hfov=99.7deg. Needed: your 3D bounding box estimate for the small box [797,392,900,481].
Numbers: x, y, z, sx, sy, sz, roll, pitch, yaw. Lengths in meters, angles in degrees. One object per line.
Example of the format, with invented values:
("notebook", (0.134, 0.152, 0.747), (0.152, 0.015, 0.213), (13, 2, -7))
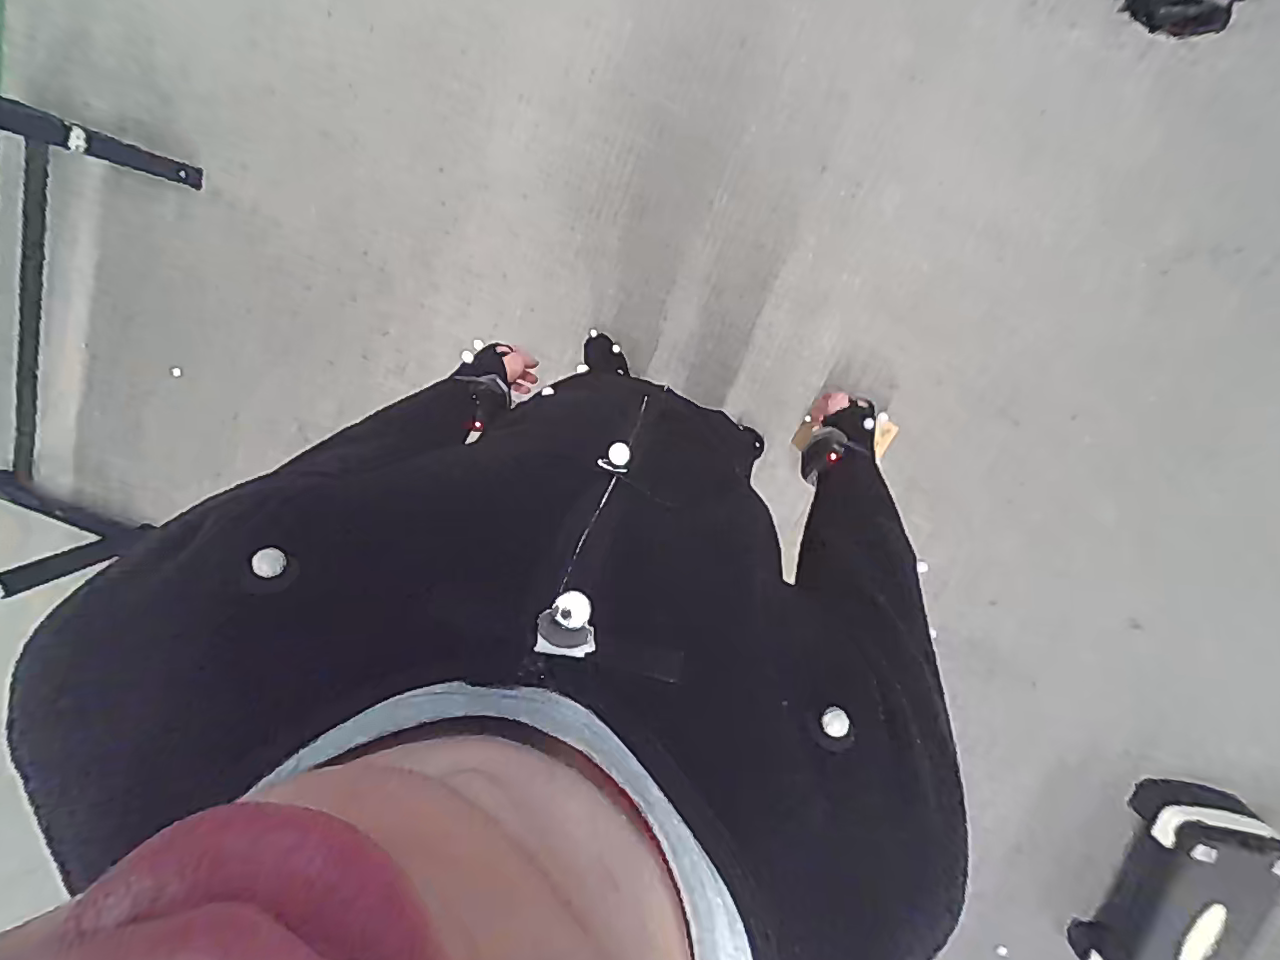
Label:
("small box", (0.531, -0.121, 1.408), (0.179, 0.176, 0.168), (26, 105, 0))
